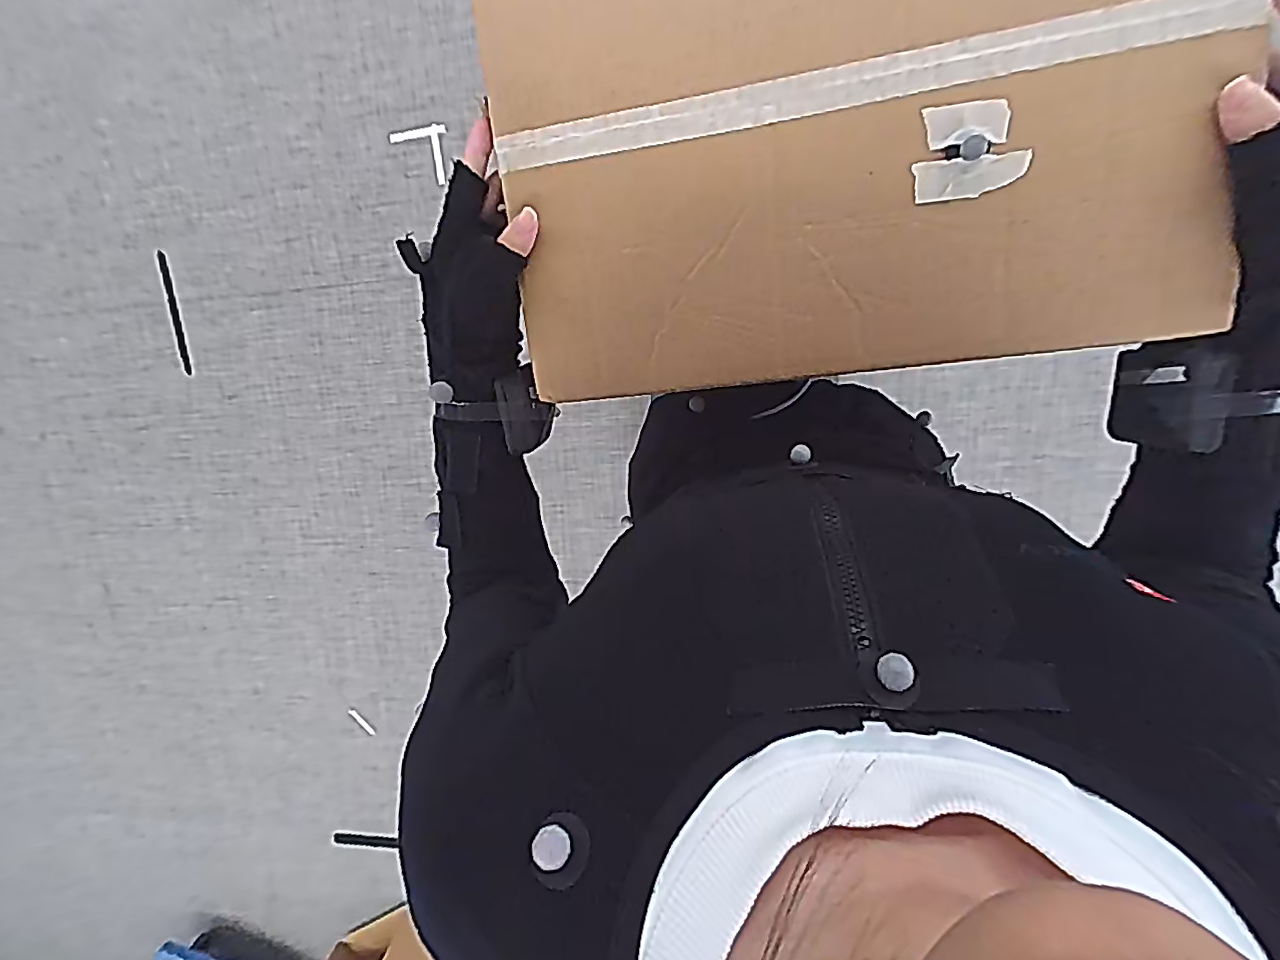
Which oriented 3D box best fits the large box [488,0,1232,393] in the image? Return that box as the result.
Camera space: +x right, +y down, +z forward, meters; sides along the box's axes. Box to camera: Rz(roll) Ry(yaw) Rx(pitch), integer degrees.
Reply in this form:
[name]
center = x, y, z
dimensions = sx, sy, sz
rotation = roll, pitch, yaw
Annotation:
[large box]
center = 0.133, -0.262, 0.458
dimensions = 0.408, 0.320, 0.320
rotation = -5, 103, 10
